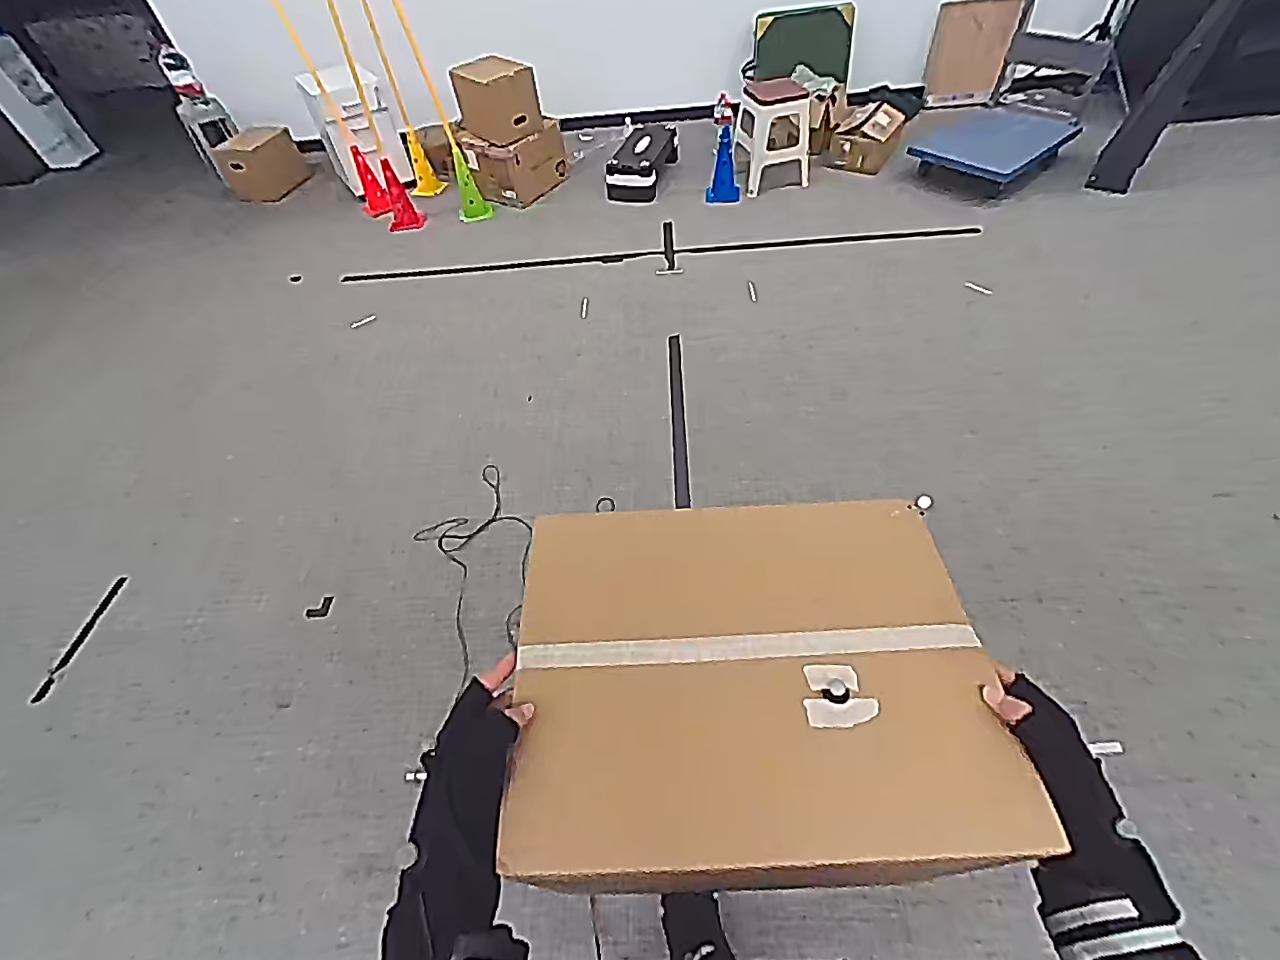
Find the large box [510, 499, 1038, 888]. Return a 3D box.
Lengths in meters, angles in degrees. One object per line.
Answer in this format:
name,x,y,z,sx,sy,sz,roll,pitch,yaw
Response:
large box,0.098,0.244,0.607,0.408,0.320,0.320,-3,50,0
